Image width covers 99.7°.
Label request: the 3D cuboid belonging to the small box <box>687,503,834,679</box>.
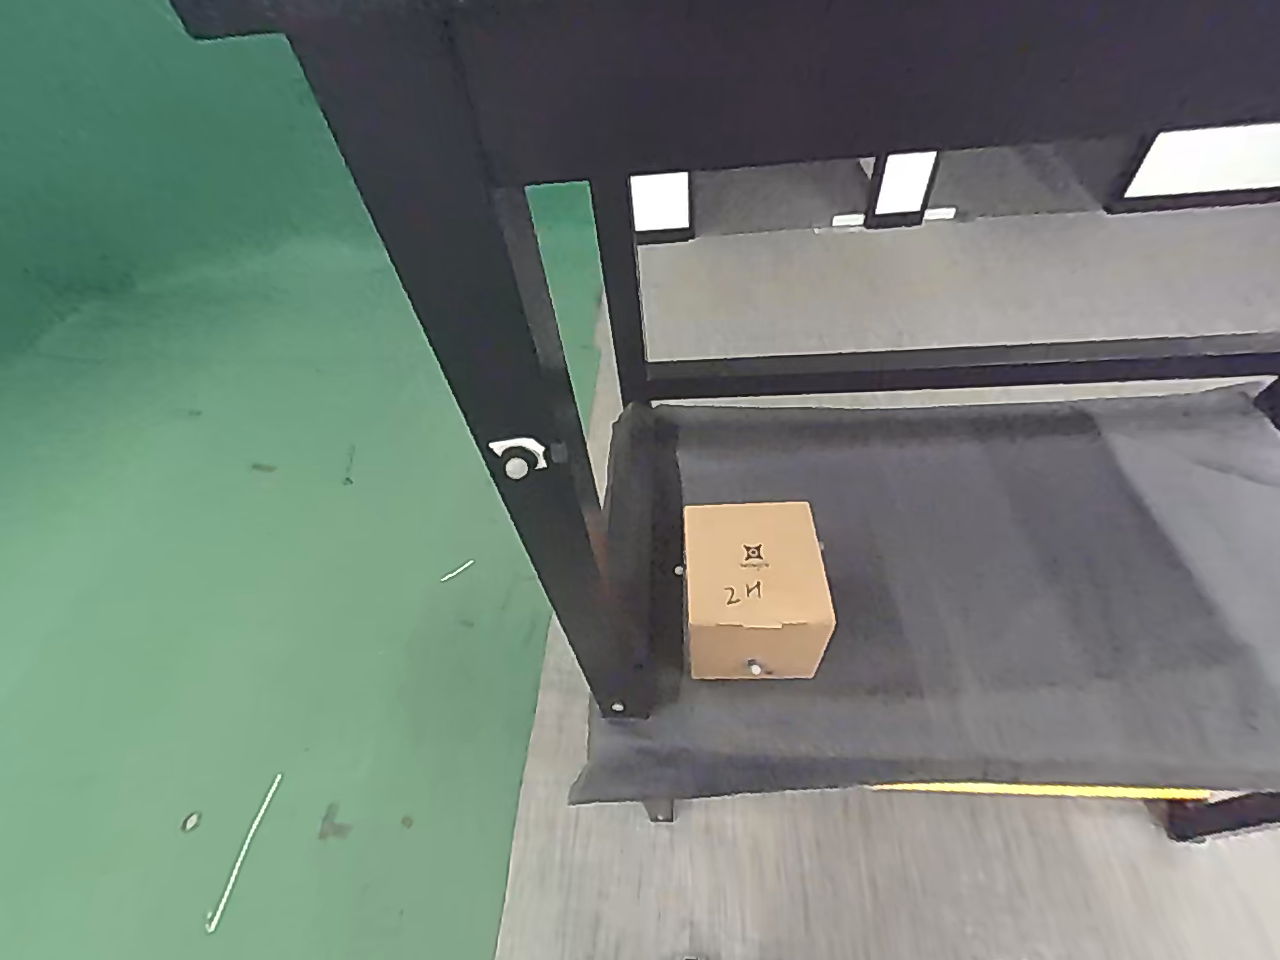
[{"bbox_3d":[0.147,0.150,0.727,0.168,0.176,0.179,-3,50,5],"label":"small box"}]
